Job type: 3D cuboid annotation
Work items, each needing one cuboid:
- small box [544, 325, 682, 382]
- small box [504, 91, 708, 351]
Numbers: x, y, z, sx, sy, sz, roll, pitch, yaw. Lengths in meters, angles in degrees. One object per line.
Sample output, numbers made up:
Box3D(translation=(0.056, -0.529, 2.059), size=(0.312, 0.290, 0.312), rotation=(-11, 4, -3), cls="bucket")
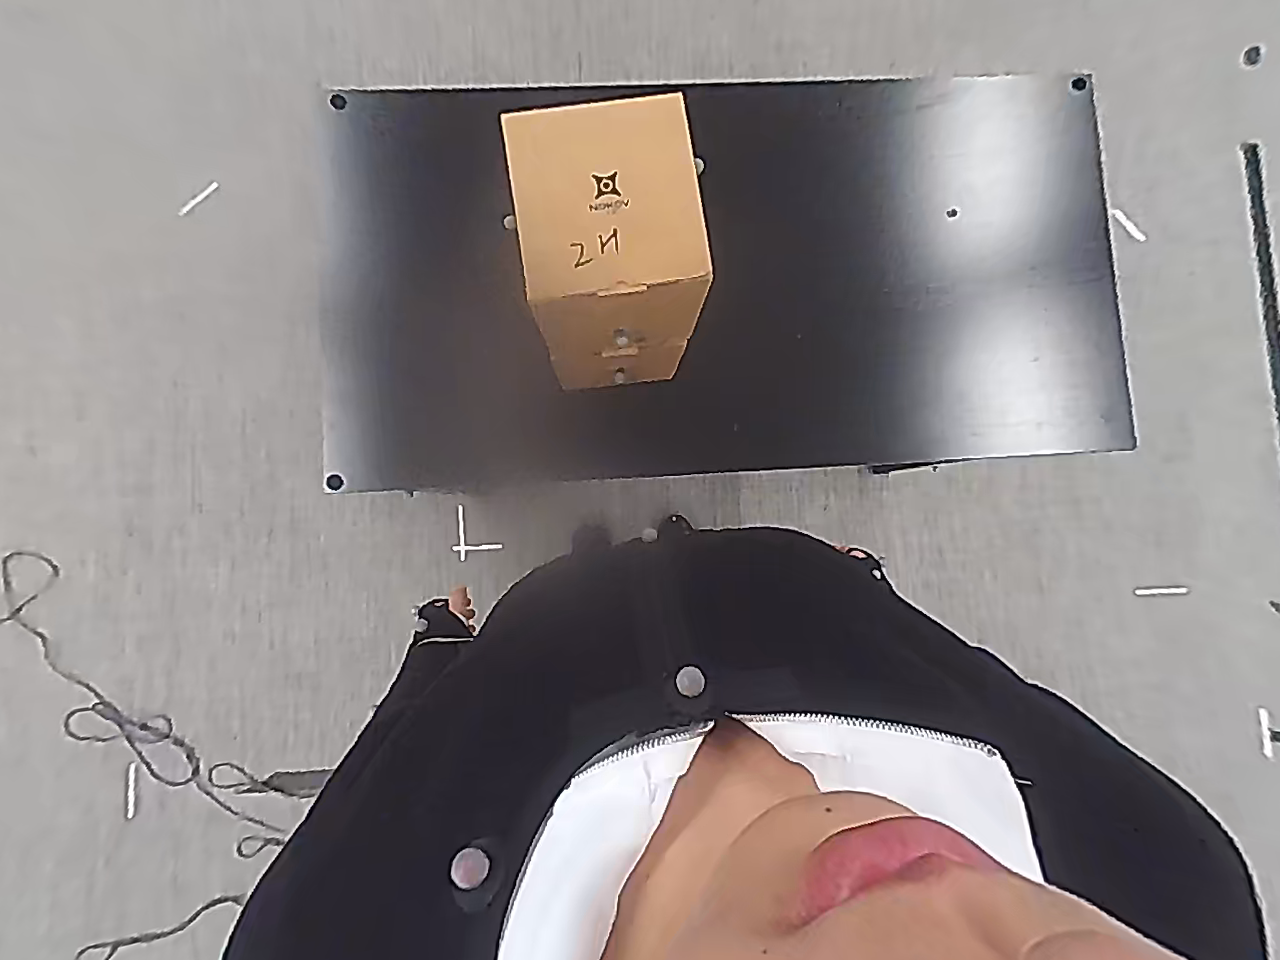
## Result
Box3D(translation=(-0.040, -0.236, 0.727), size=(0.168, 0.176, 0.179), rotation=(-7, 87, -2), cls="small box")
Box3D(translation=(-0.034, -0.252, 0.562), size=(0.168, 0.176, 0.179), rotation=(-9, 86, -2), cls="small box")
